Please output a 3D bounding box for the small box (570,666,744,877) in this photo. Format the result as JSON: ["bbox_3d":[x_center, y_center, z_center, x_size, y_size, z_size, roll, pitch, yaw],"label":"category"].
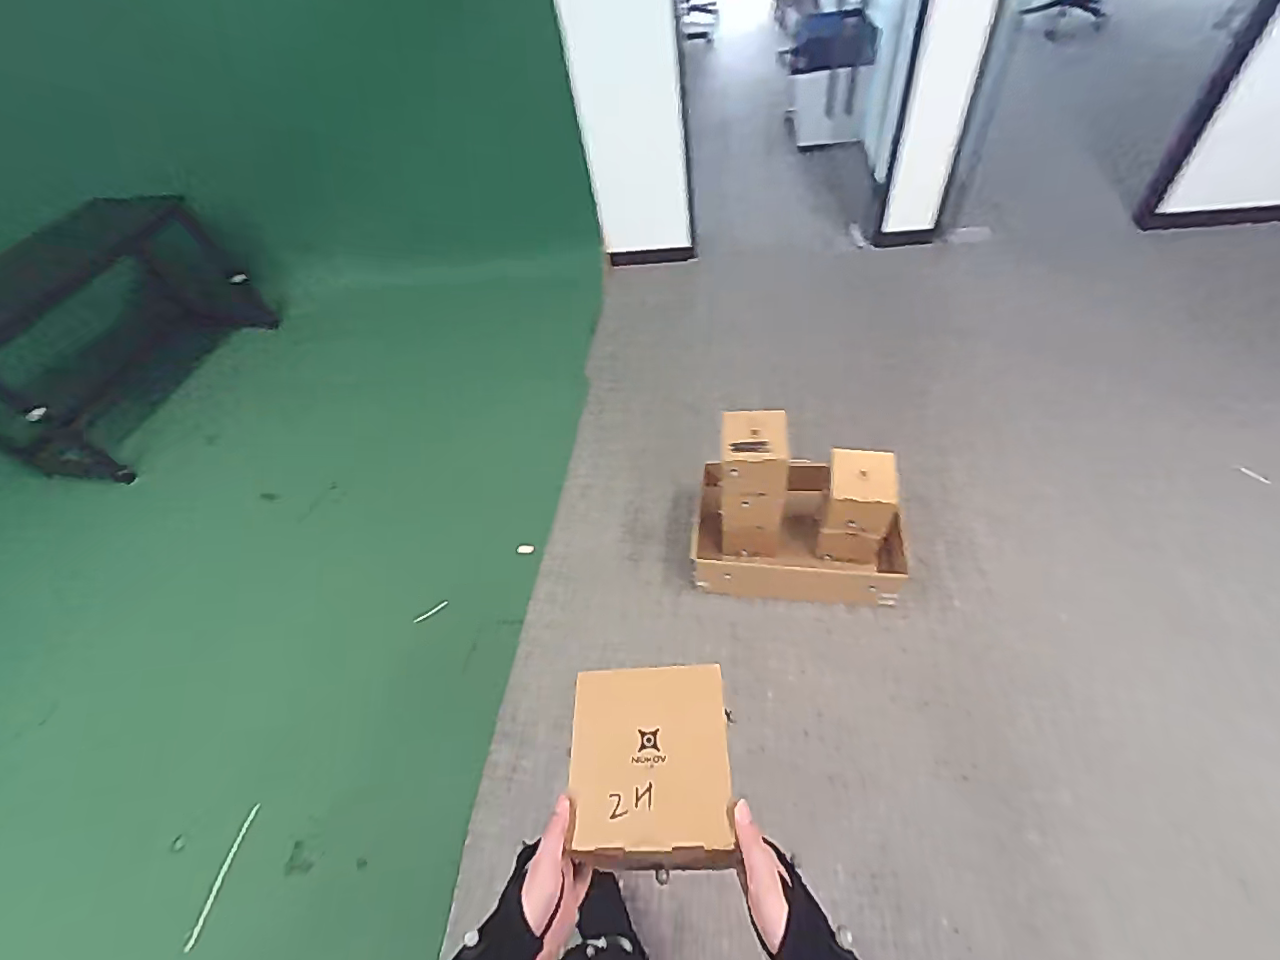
[{"bbox_3d":[0.029,0.331,0.616,0.168,0.176,0.179,-4,48,8],"label":"small box"}]

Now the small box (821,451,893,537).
[{"bbox_3d":[0.614,0.040,1.545,0.168,0.176,0.179,6,55,13],"label":"small box"}]

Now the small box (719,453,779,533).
[{"bbox_3d":[0.319,0.039,1.597,0.168,0.176,0.179,-1,52,10],"label":"small box"}]
